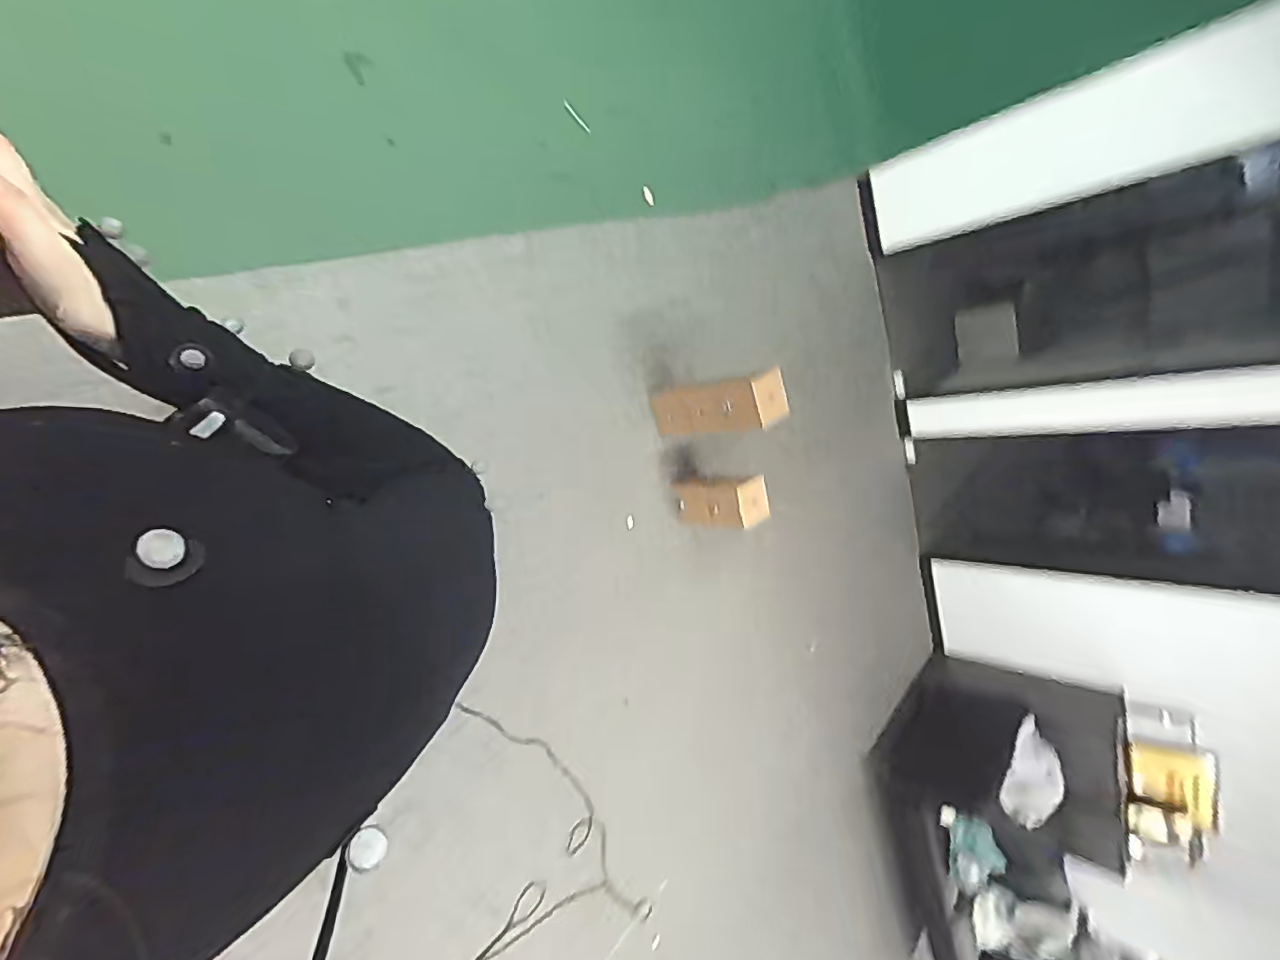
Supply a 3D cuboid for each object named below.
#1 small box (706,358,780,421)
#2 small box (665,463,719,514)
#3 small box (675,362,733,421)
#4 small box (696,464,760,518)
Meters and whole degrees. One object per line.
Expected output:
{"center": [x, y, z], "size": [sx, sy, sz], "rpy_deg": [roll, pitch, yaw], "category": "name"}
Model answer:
{"center": [0.359, -0.316, 1.890], "size": [0.179, 0.176, 0.168], "rpy_deg": [-32, 111, -37], "category": "small box"}
{"center": [0.228, 0.029, 2.232], "size": [0.179, 0.176, 0.168], "rpy_deg": [-23, 107, -39], "category": "small box"}
{"center": [0.249, -0.324, 2.011], "size": [0.179, 0.176, 0.168], "rpy_deg": [-33, 113, -37], "category": "small box"}
{"center": [0.344, 0.035, 2.114], "size": [0.179, 0.176, 0.168], "rpy_deg": [-25, 108, -40], "category": "small box"}
